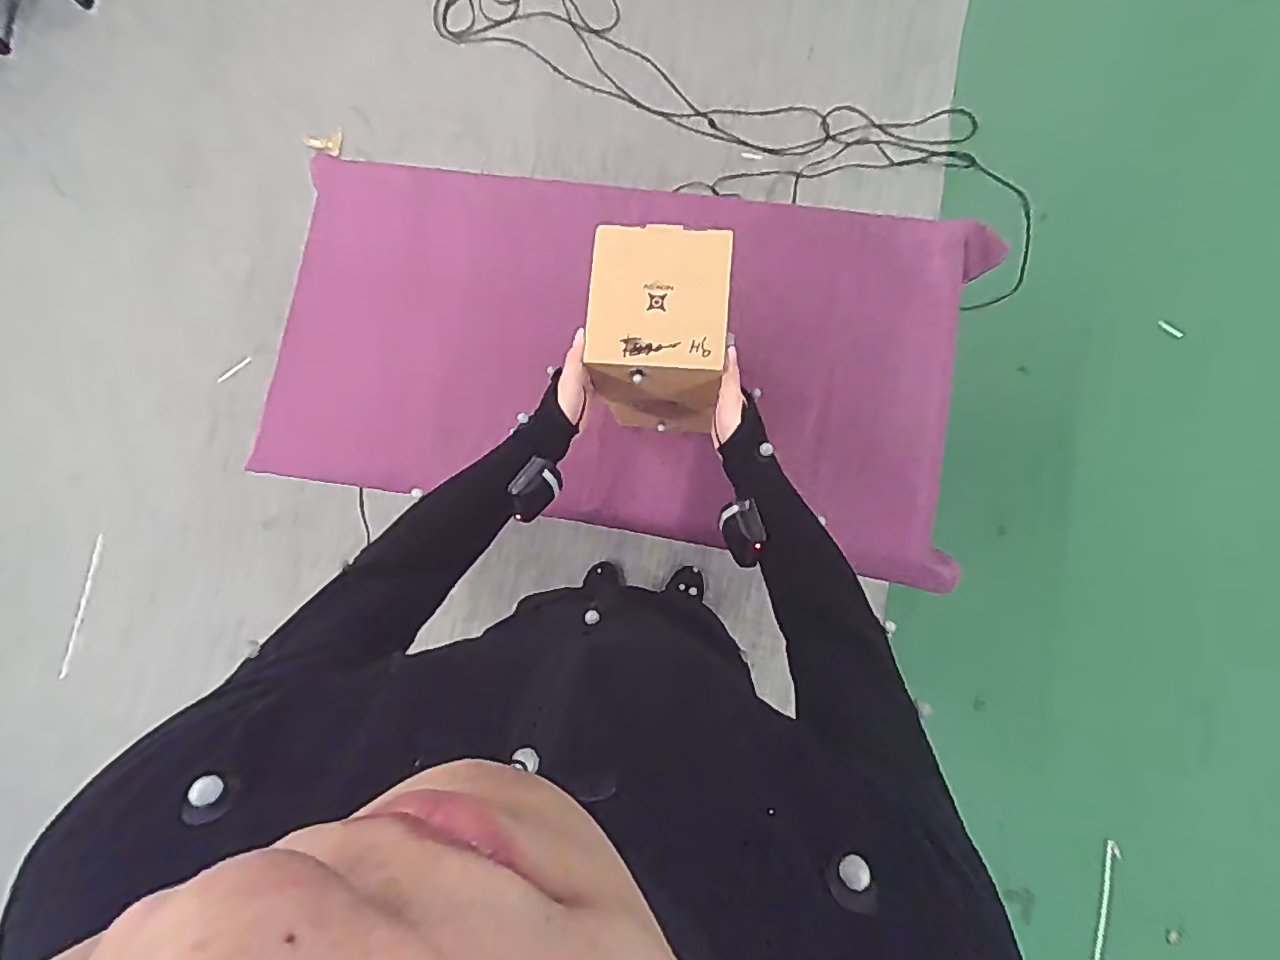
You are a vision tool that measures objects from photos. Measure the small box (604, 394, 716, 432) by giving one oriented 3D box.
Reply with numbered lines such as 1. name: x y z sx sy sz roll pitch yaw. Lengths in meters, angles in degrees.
1. small box: 0.042 -0.186 0.869 0.168 0.176 0.179 6 84 6

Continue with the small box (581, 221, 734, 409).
1. small box: 0.026 -0.204 0.703 0.168 0.176 0.179 4 82 5
